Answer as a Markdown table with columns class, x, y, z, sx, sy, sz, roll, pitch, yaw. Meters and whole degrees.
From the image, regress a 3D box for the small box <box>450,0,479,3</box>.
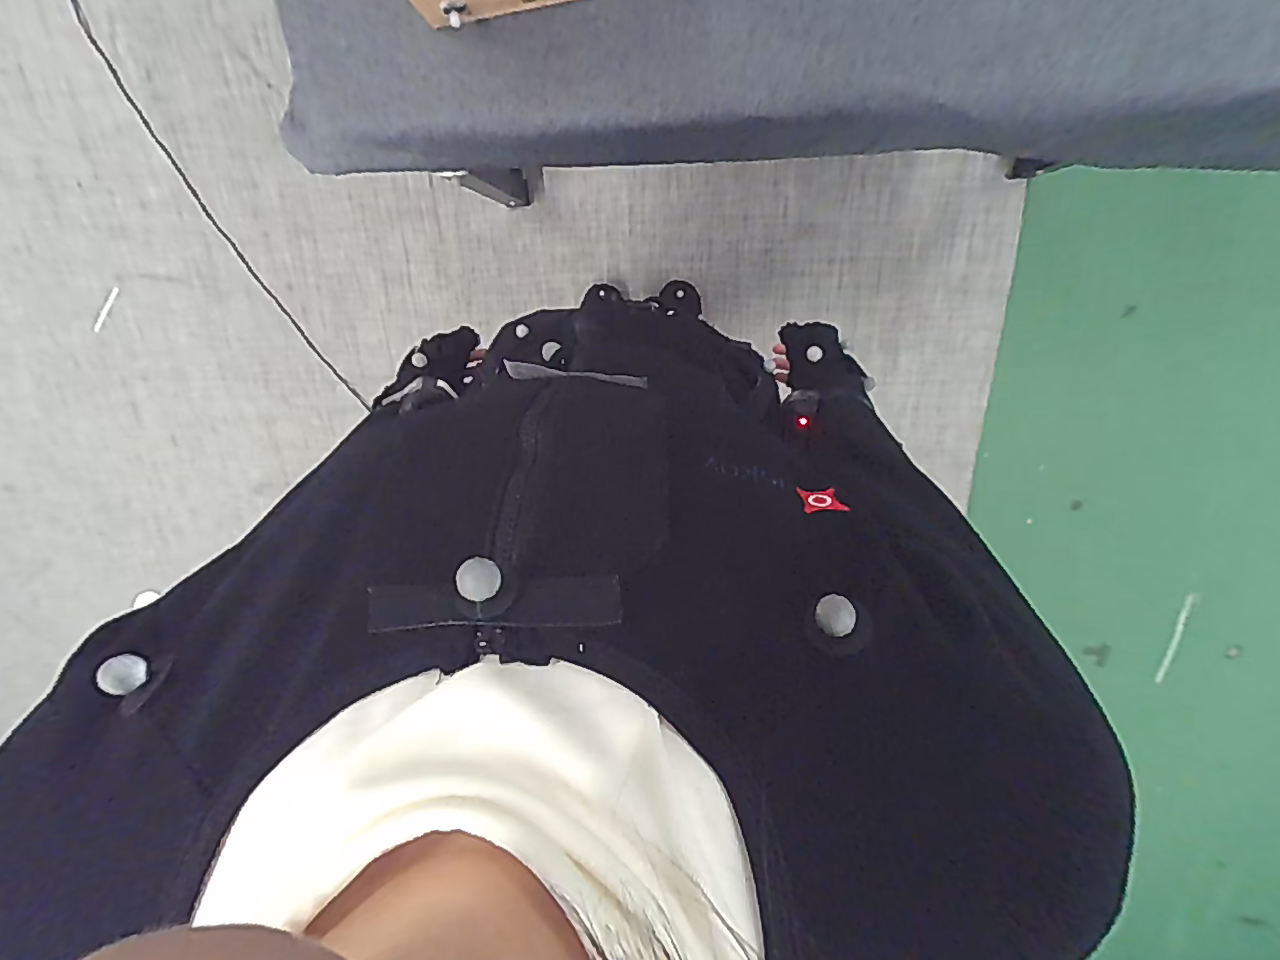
| class | x | y | z | sx | sy | sz | roll | pitch | yaw |
| --- | --- | --- | --- | --- | --- | --- | --- | --- | --- |
| small box | -0.135 | -0.521 | 0.424 | 0.168 | 0.176 | 0.179 | -7 | 109 | 5 |
